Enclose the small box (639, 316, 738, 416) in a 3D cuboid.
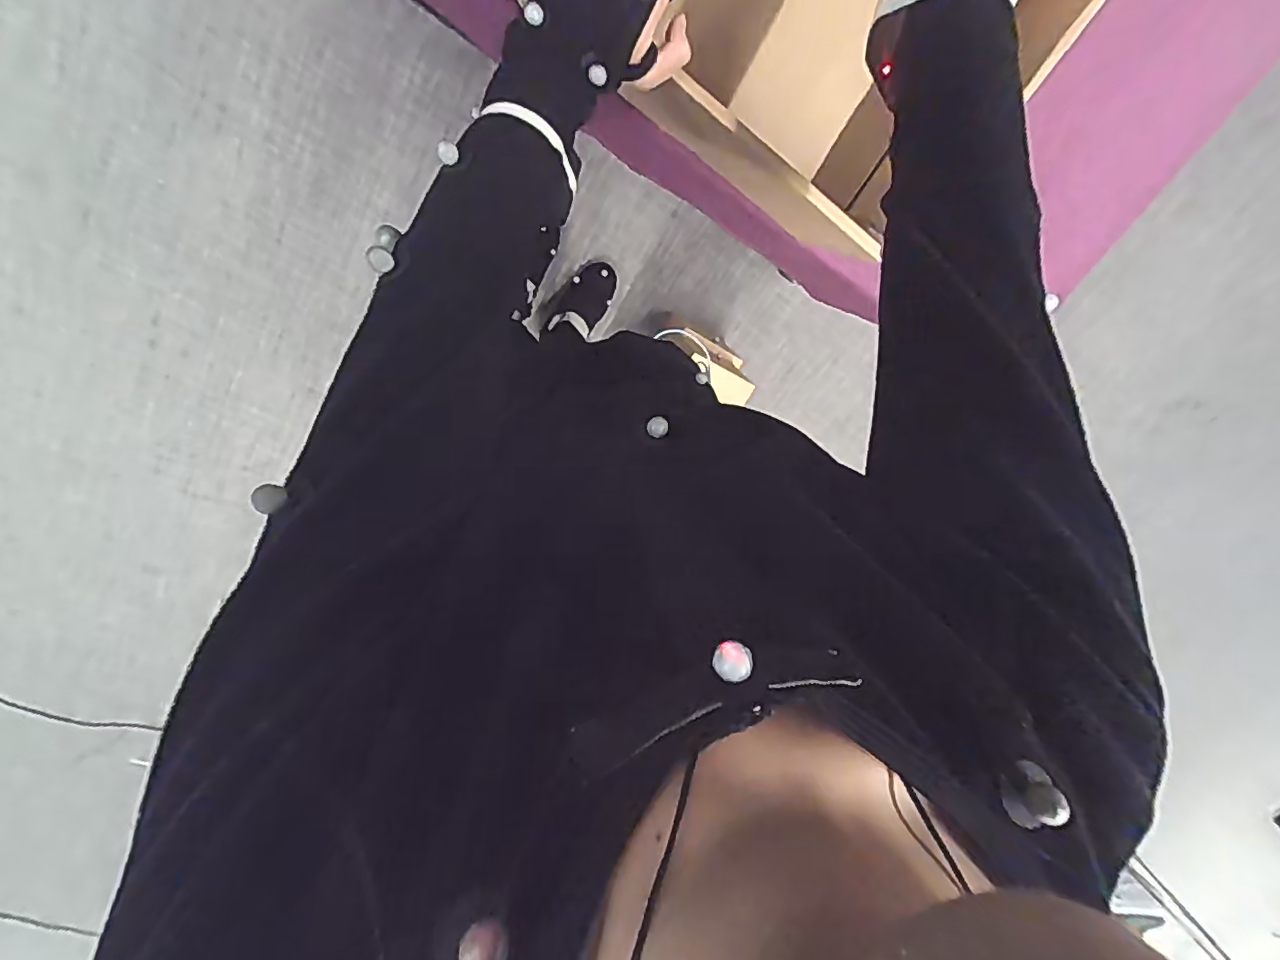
[{"bbox_3d":[0.117,-0.298,1.387,0.179,0.176,0.168,25,112,-21],"label":"small box"}]
